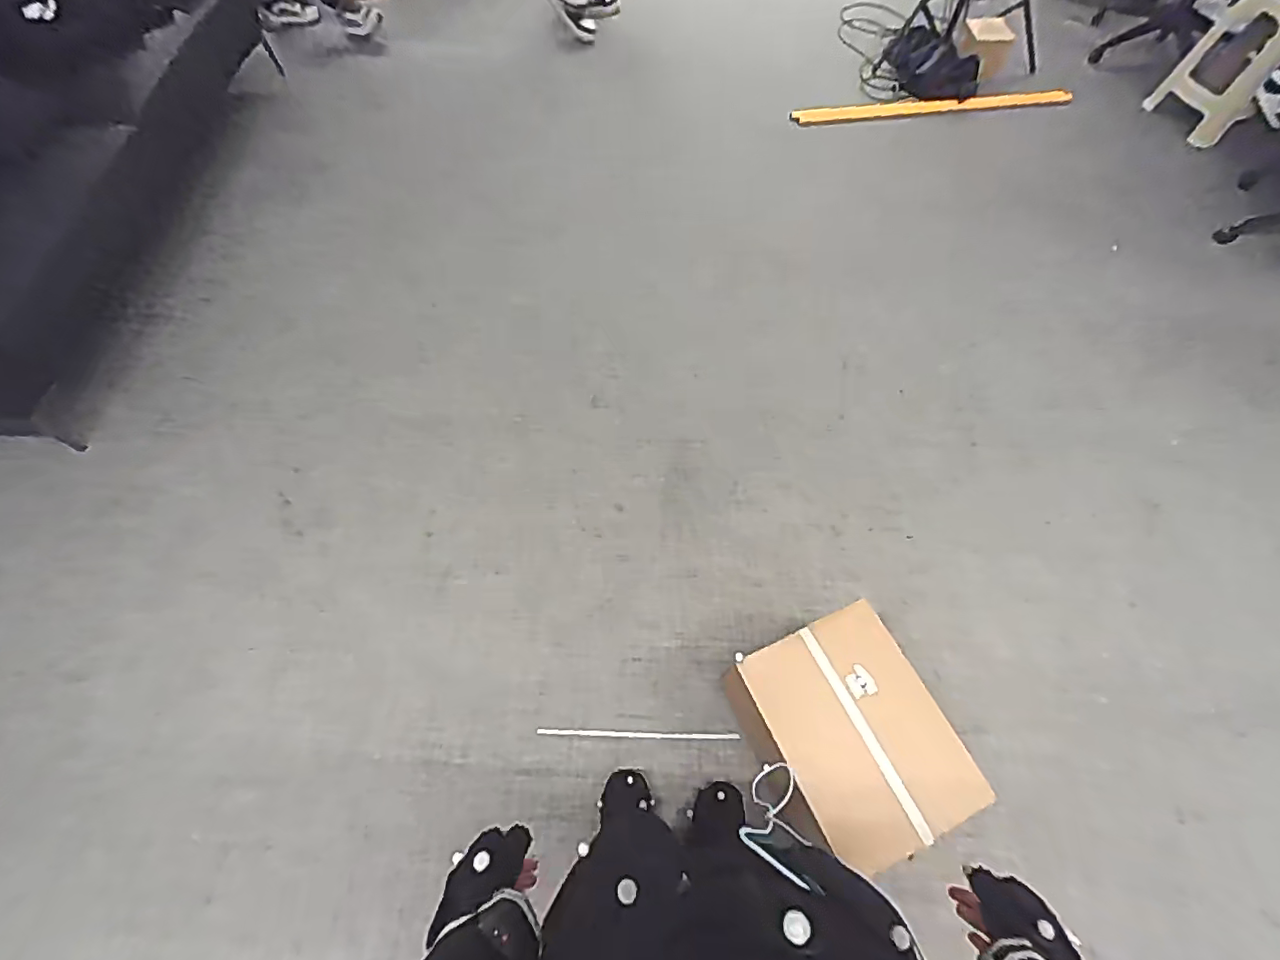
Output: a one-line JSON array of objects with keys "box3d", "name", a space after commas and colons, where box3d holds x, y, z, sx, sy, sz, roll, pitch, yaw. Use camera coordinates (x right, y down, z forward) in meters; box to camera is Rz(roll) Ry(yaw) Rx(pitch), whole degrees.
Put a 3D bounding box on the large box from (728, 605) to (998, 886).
[{"box3d": [0.430, 0.546, 1.159, 0.320, 0.320, 0.408, -23, 64, -10], "name": "large box"}]
